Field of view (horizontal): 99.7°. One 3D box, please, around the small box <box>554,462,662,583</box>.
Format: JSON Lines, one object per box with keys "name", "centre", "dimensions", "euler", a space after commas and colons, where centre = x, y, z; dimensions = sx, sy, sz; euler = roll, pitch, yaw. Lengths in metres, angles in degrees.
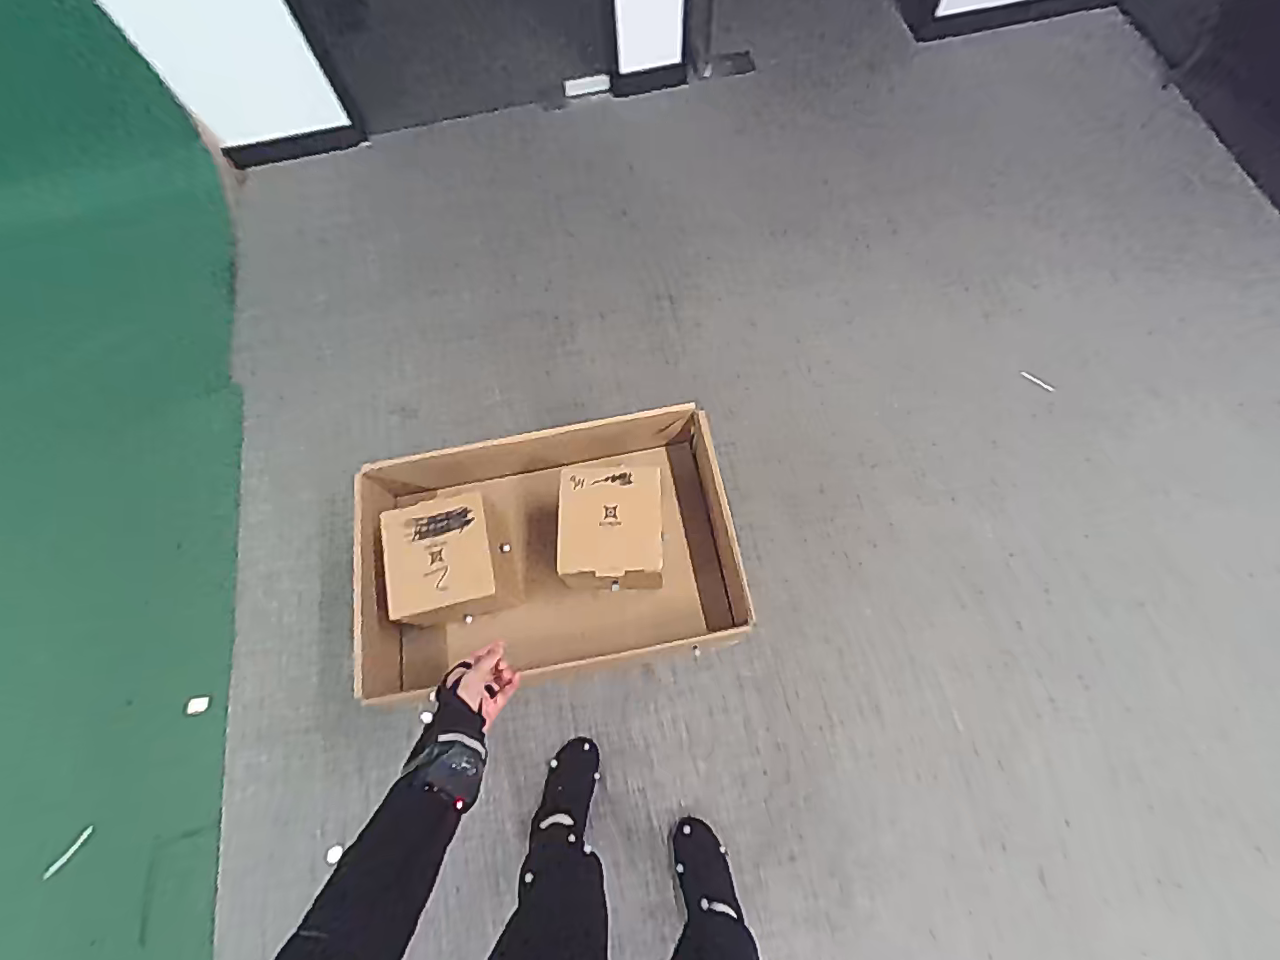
{"name": "small box", "centre": [-0.047, 0.079, 0.924], "dimensions": [0.168, 0.176, 0.179], "euler": [-1, 70, 2]}
